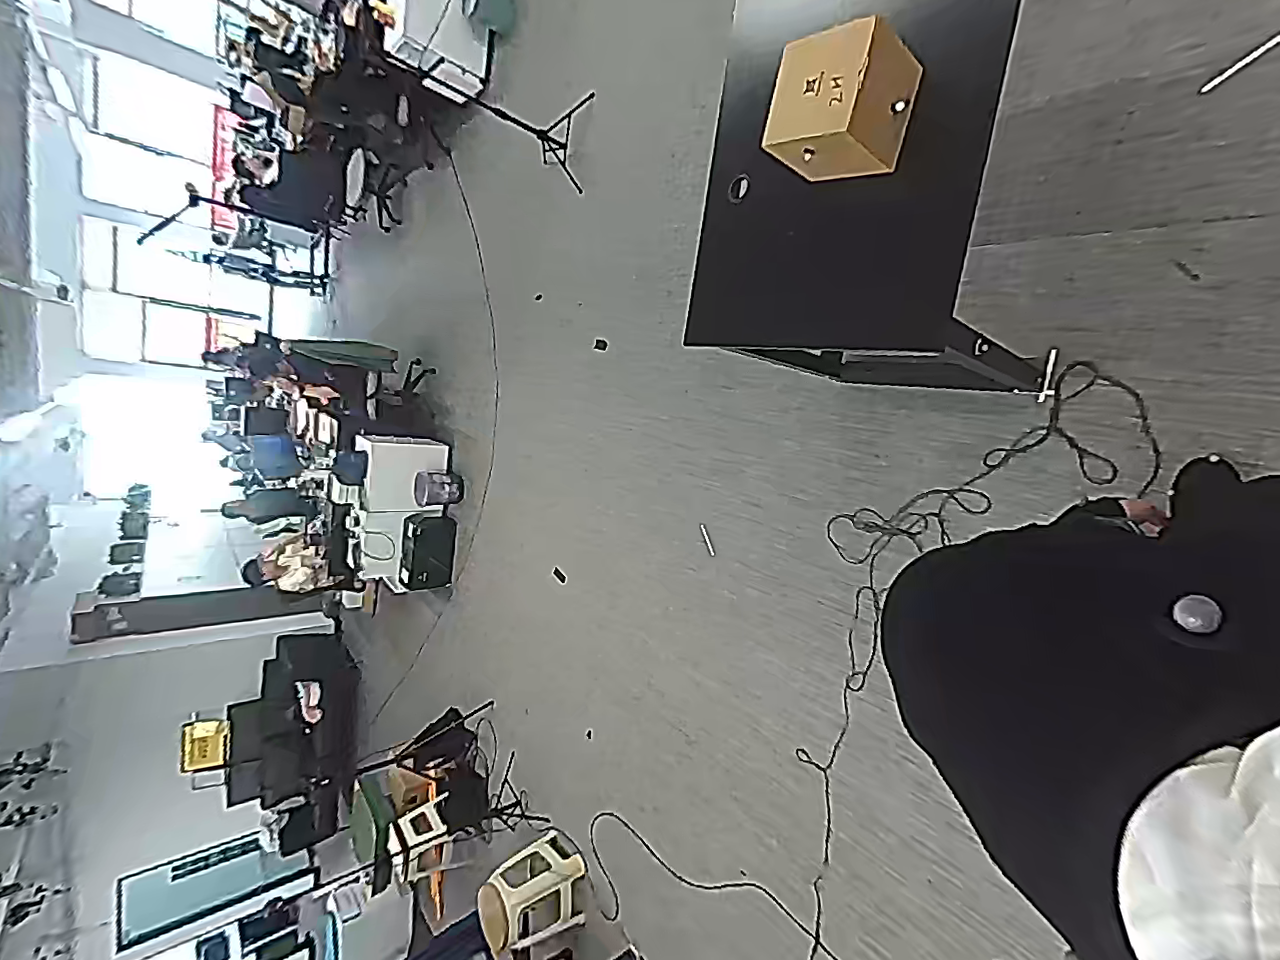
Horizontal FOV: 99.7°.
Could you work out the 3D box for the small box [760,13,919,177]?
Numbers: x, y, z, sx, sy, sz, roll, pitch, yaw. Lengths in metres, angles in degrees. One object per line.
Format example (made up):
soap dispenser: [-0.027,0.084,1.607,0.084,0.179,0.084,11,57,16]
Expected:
small box: [0.346,-0.649,0.942,0.179,0.176,0.168,26,109,46]
